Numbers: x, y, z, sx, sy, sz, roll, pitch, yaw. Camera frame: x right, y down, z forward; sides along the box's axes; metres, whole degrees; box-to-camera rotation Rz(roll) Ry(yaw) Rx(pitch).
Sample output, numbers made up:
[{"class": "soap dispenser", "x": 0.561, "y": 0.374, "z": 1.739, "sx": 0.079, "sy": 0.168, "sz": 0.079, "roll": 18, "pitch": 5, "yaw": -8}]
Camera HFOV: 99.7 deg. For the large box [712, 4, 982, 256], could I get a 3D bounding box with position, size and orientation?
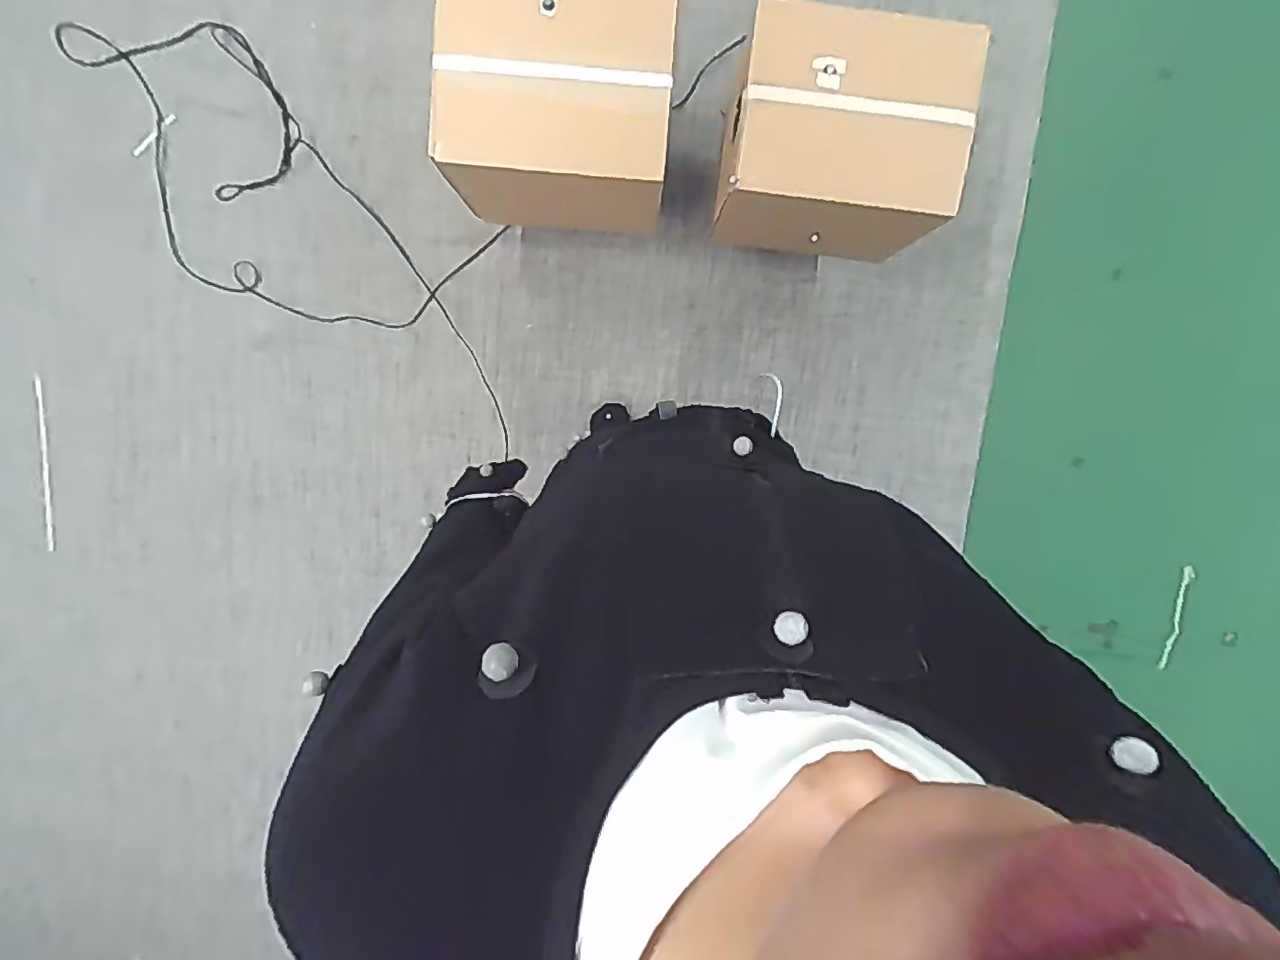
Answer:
[{"class": "large box", "x": 0.382, "y": -0.669, "z": 1.098, "sx": 0.408, "sy": 0.320, "sz": 0.320, "roll": 7, "pitch": 97, "yaw": -1}]
